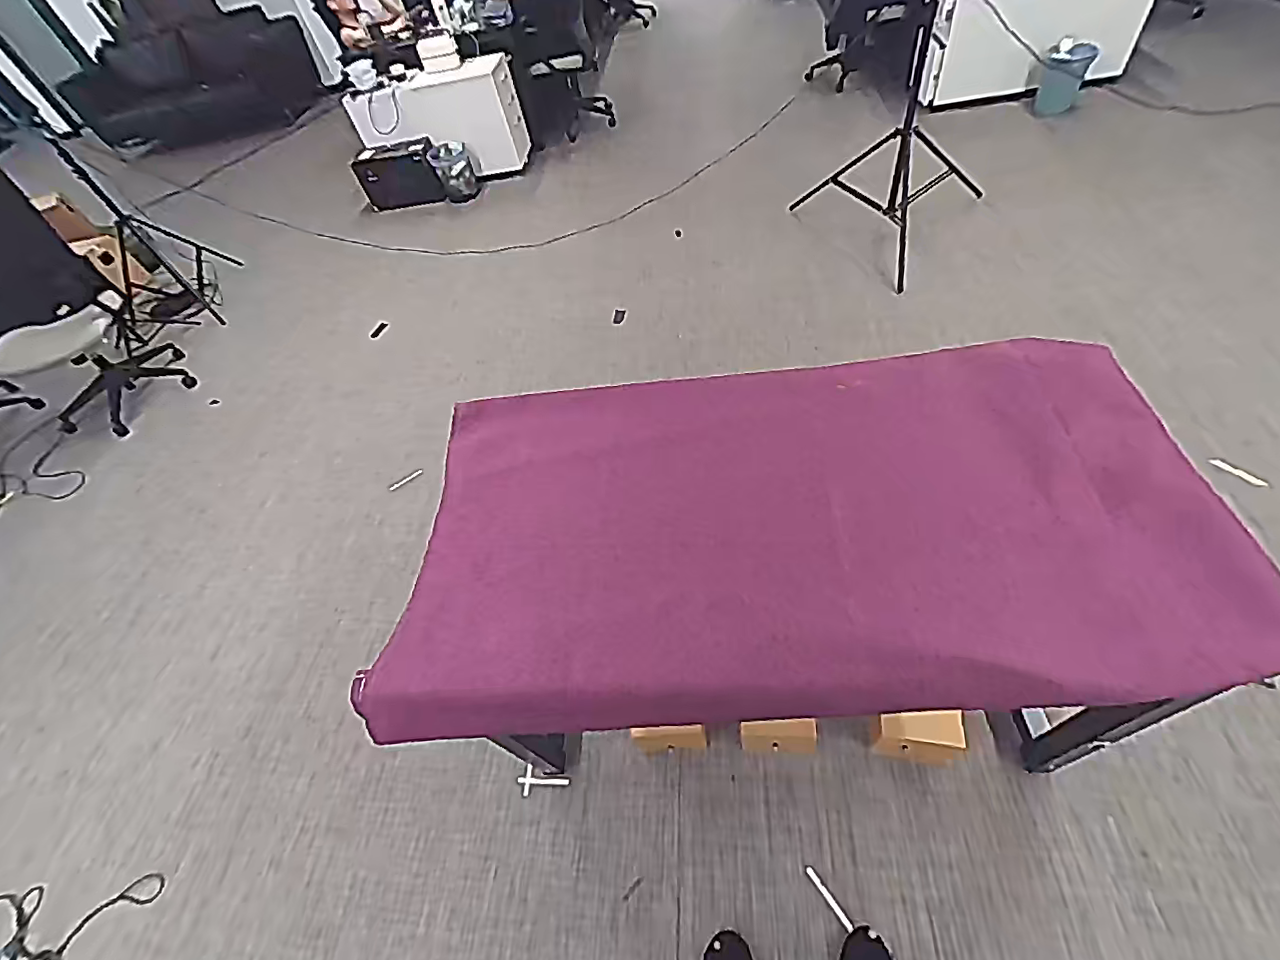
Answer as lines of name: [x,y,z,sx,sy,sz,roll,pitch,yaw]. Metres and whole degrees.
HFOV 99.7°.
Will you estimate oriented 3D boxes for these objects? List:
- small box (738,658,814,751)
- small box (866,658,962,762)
small box: [0.326,0.550,1.318,0.168,0.176,0.179,-2,51,10]
small box: [0.630,0.541,1.264,0.168,0.176,0.179,3,52,15]
